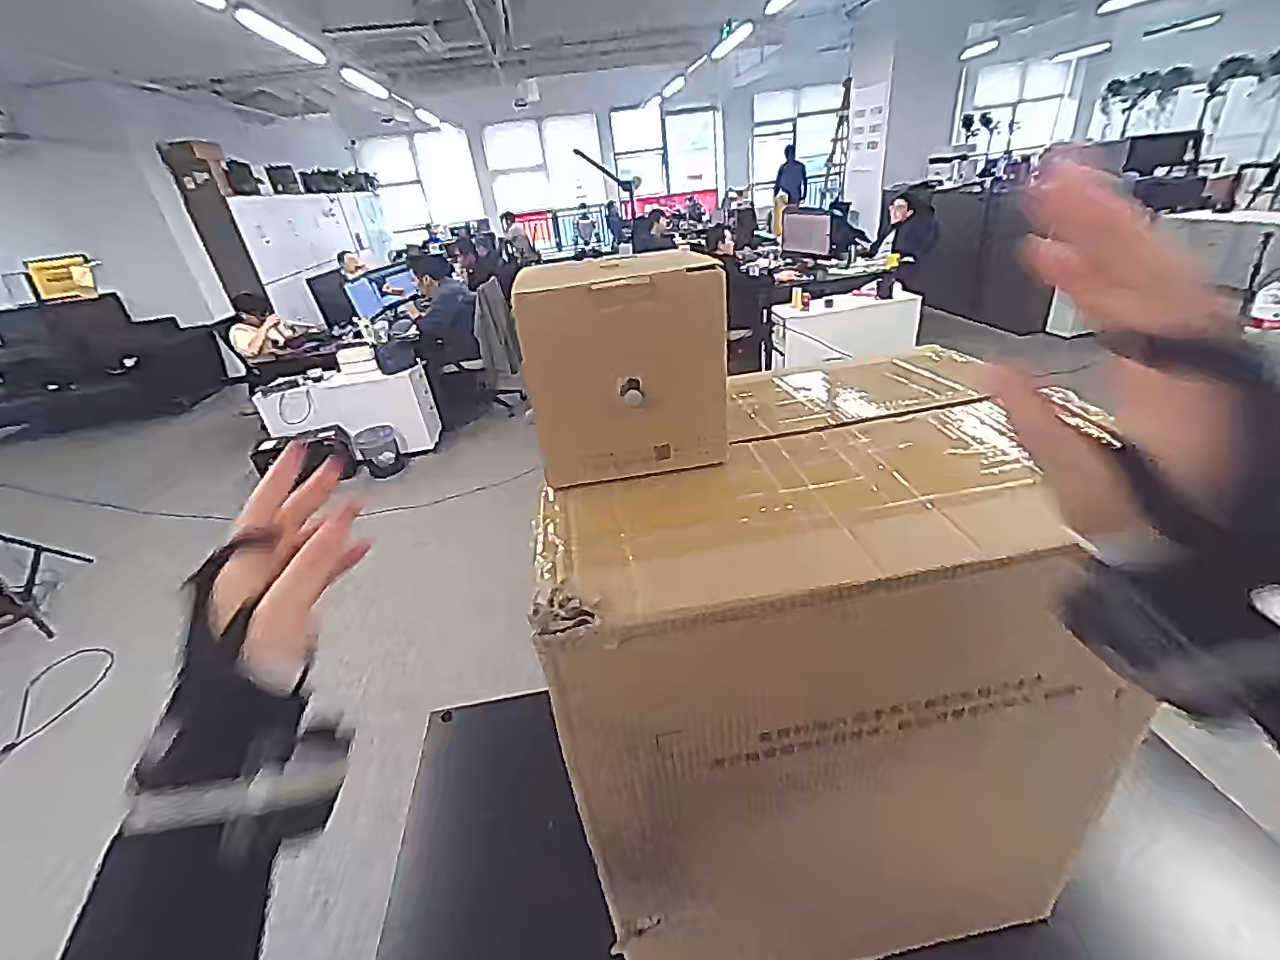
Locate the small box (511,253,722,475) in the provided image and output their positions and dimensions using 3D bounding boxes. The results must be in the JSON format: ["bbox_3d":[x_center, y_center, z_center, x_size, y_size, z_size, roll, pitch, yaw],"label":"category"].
[{"bbox_3d":[-0.020,-0.113,0.526,0.168,0.176,0.179,-9,28,-5],"label":"small box"}]
